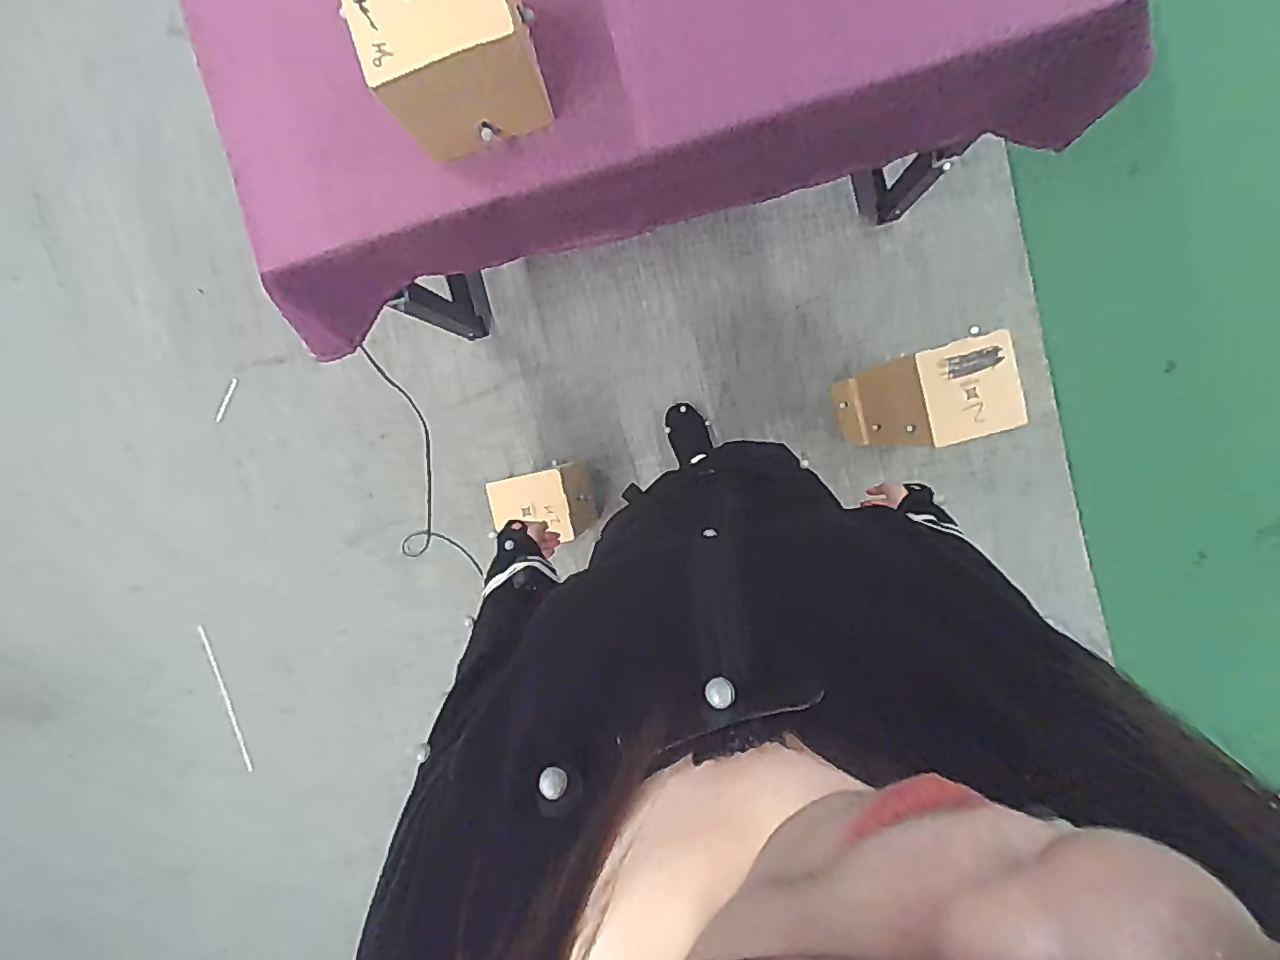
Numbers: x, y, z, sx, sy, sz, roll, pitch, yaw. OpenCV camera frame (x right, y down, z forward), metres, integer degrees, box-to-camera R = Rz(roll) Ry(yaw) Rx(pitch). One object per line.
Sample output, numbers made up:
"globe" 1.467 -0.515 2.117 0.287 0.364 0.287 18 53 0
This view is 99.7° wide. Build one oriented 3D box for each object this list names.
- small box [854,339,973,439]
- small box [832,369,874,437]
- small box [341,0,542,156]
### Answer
"small box" 0.593 -0.194 1.190 0.168 0.176 0.179 -14 94 4
"small box" 0.597 -0.207 1.352 0.179 0.176 0.168 -16 94 5
"small box" -0.229 -0.532 0.650 0.179 0.176 0.168 -16 94 5
